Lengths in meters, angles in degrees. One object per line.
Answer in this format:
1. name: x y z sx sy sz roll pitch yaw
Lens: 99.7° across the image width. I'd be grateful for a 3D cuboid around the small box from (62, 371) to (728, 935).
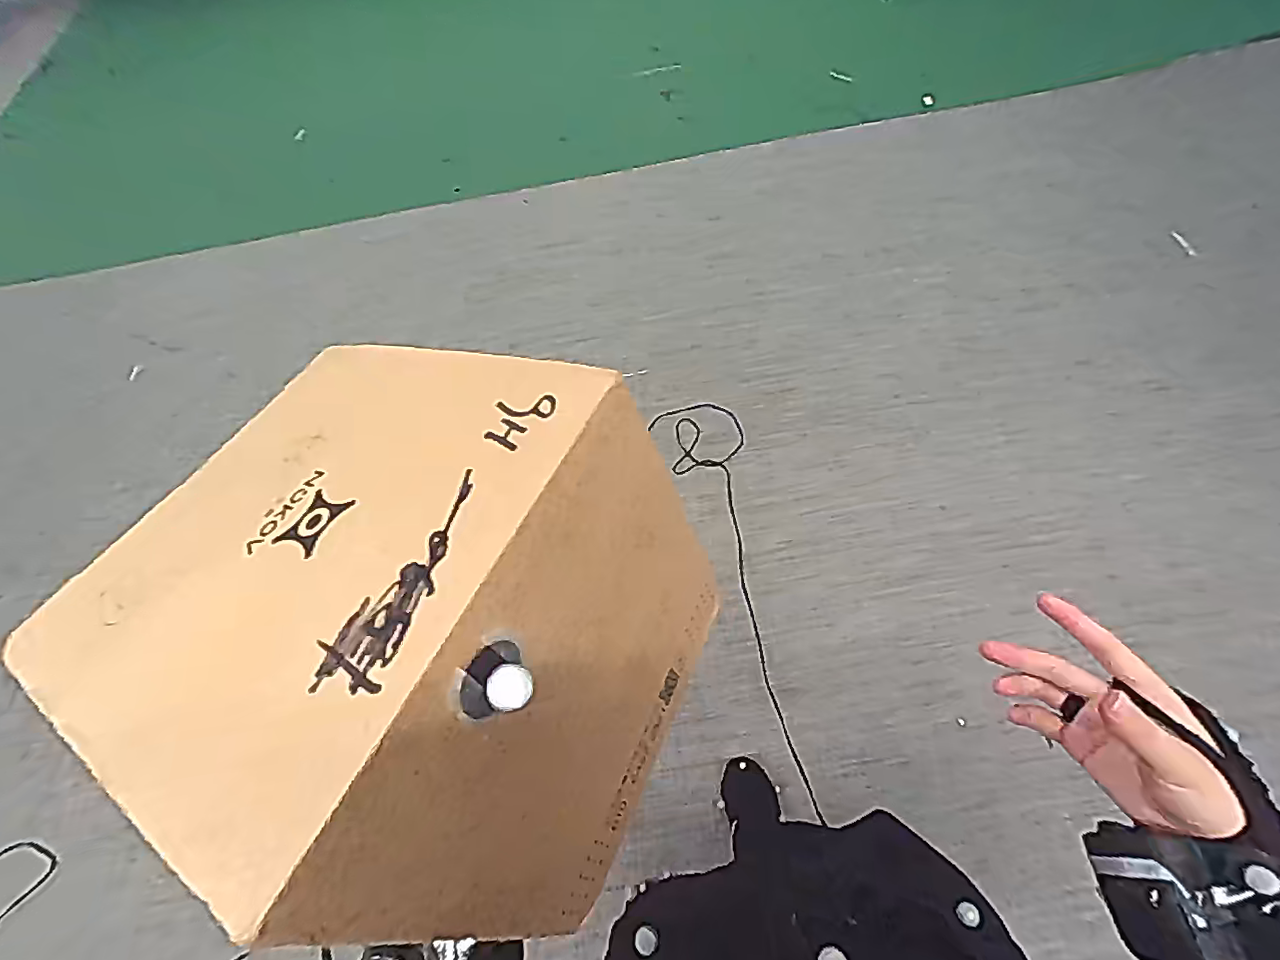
1. small box: -0.079 0.070 0.250 0.179 0.176 0.168 10 58 30
